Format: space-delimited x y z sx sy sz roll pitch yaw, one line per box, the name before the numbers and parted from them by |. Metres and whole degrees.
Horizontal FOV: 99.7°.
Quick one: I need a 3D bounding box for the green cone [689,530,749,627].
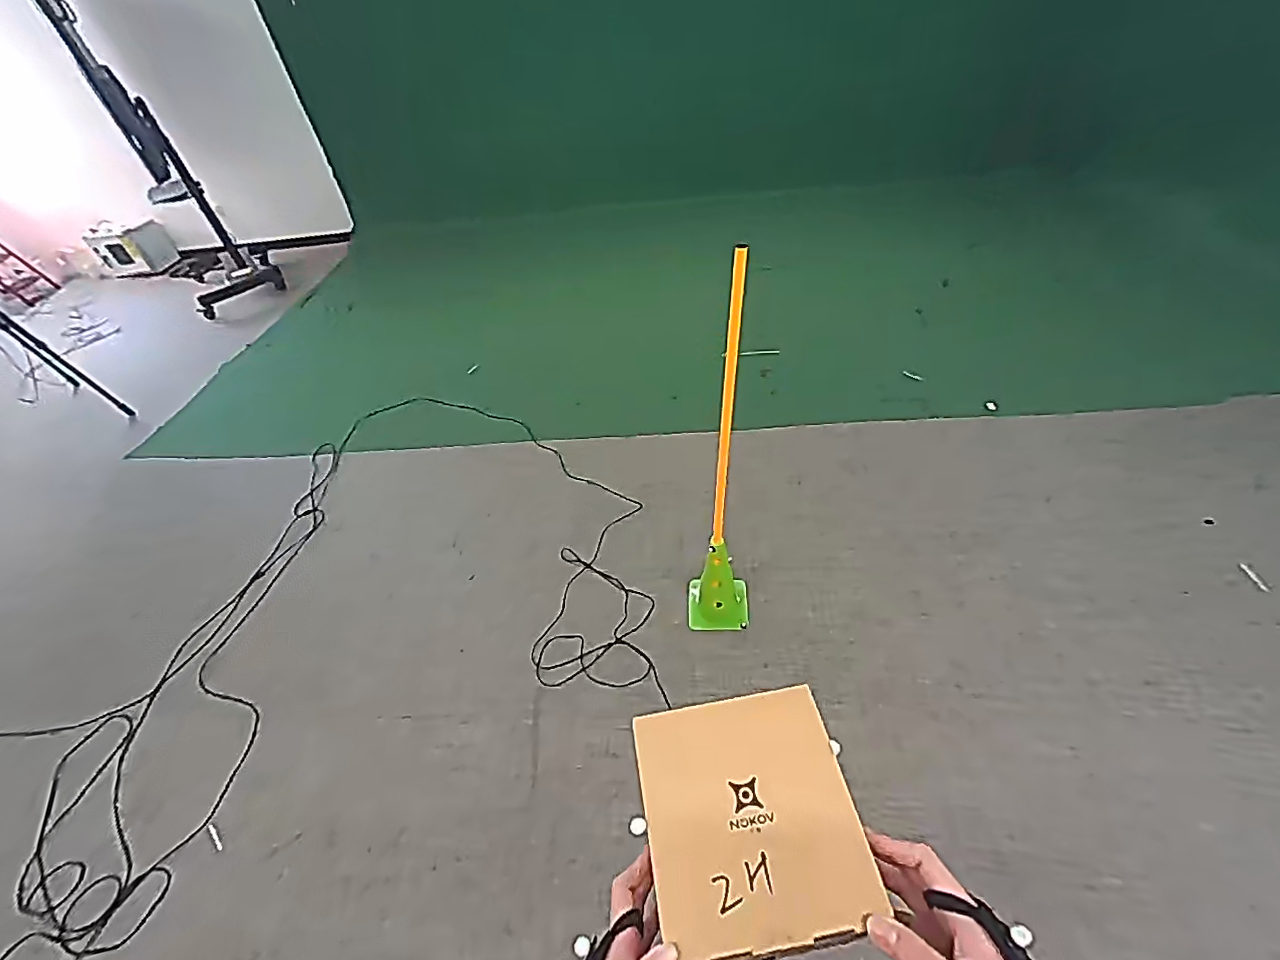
green cone | 0.247 0.289 1.736 0.202 0.368 0.200 -3 43 8
